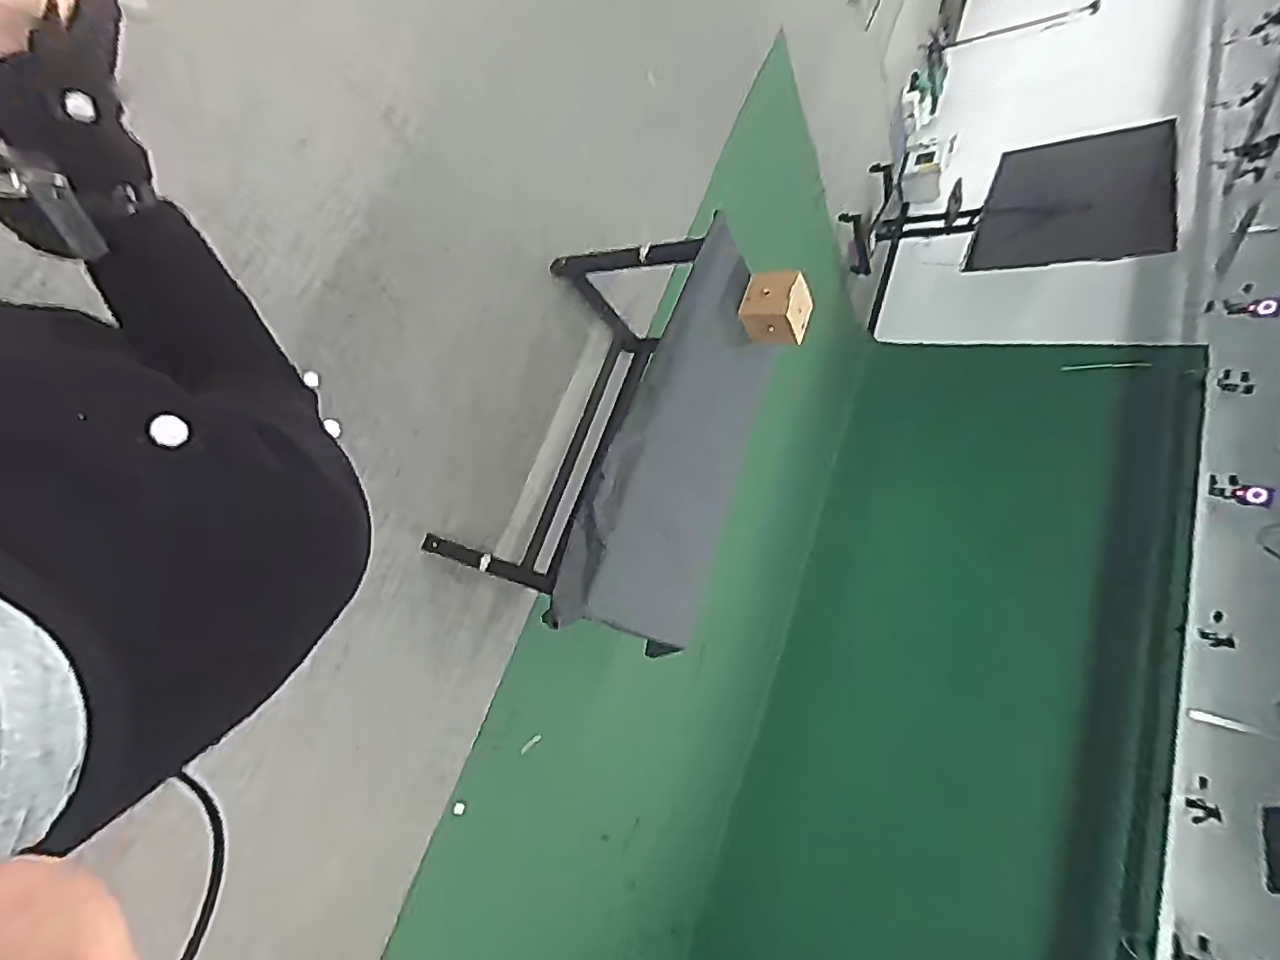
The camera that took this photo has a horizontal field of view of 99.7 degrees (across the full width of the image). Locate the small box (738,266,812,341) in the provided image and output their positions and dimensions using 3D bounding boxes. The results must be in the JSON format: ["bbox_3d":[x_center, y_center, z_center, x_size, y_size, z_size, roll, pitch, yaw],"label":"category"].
[{"bbox_3d":[0.444,-0.576,1.787,0.179,0.176,0.168,37,70,-51],"label":"small box"}]
